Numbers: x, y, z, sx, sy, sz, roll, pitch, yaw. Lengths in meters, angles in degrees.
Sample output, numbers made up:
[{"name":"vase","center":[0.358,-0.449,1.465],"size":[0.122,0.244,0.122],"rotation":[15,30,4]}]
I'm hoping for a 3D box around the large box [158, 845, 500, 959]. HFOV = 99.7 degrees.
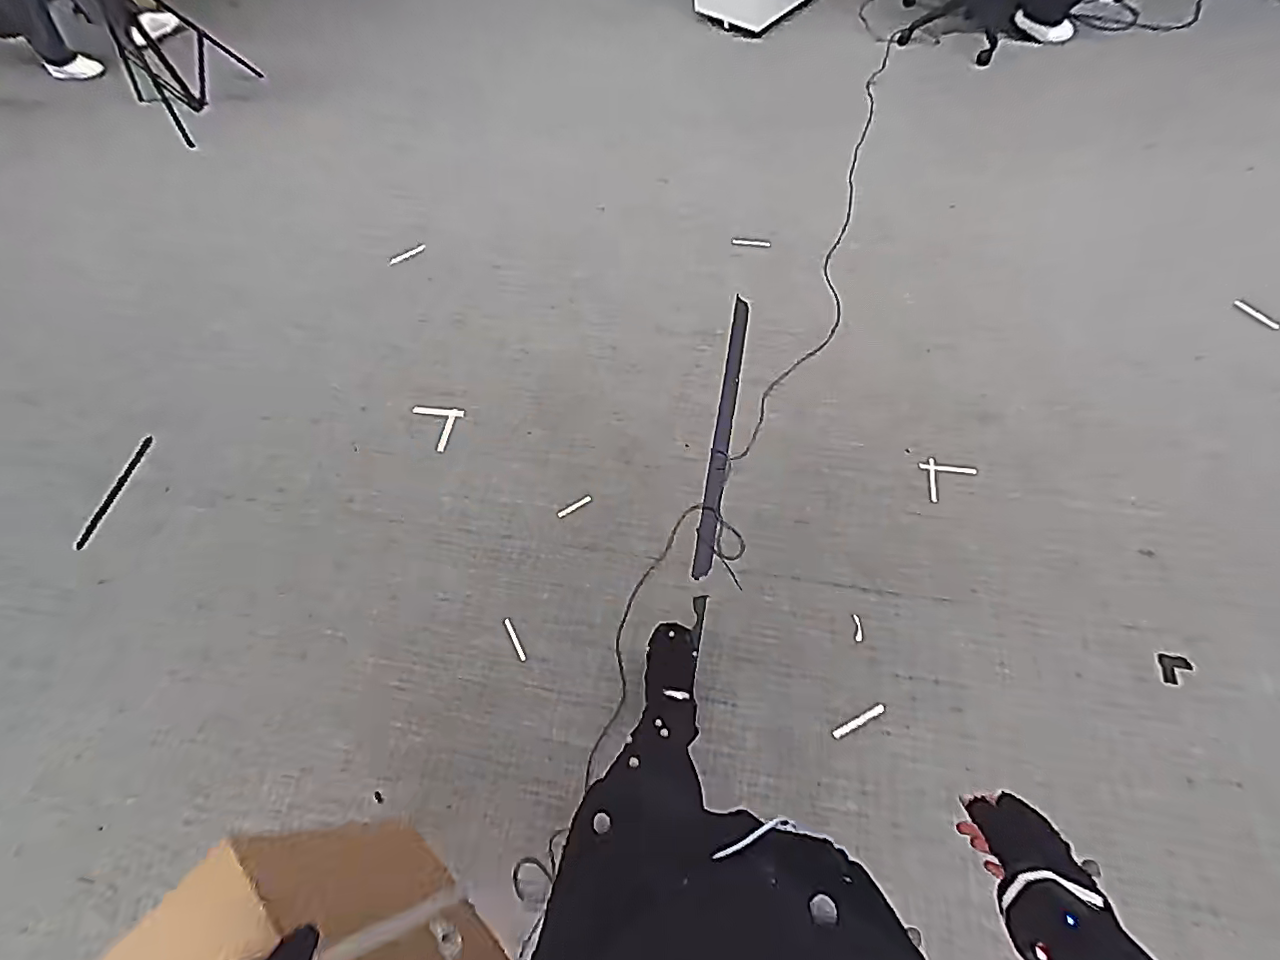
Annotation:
[{"name":"large box","center":[-0.389,0.693,0.627],"size":[0.320,0.408,0.320],"rotation":[35,69,24]}]
